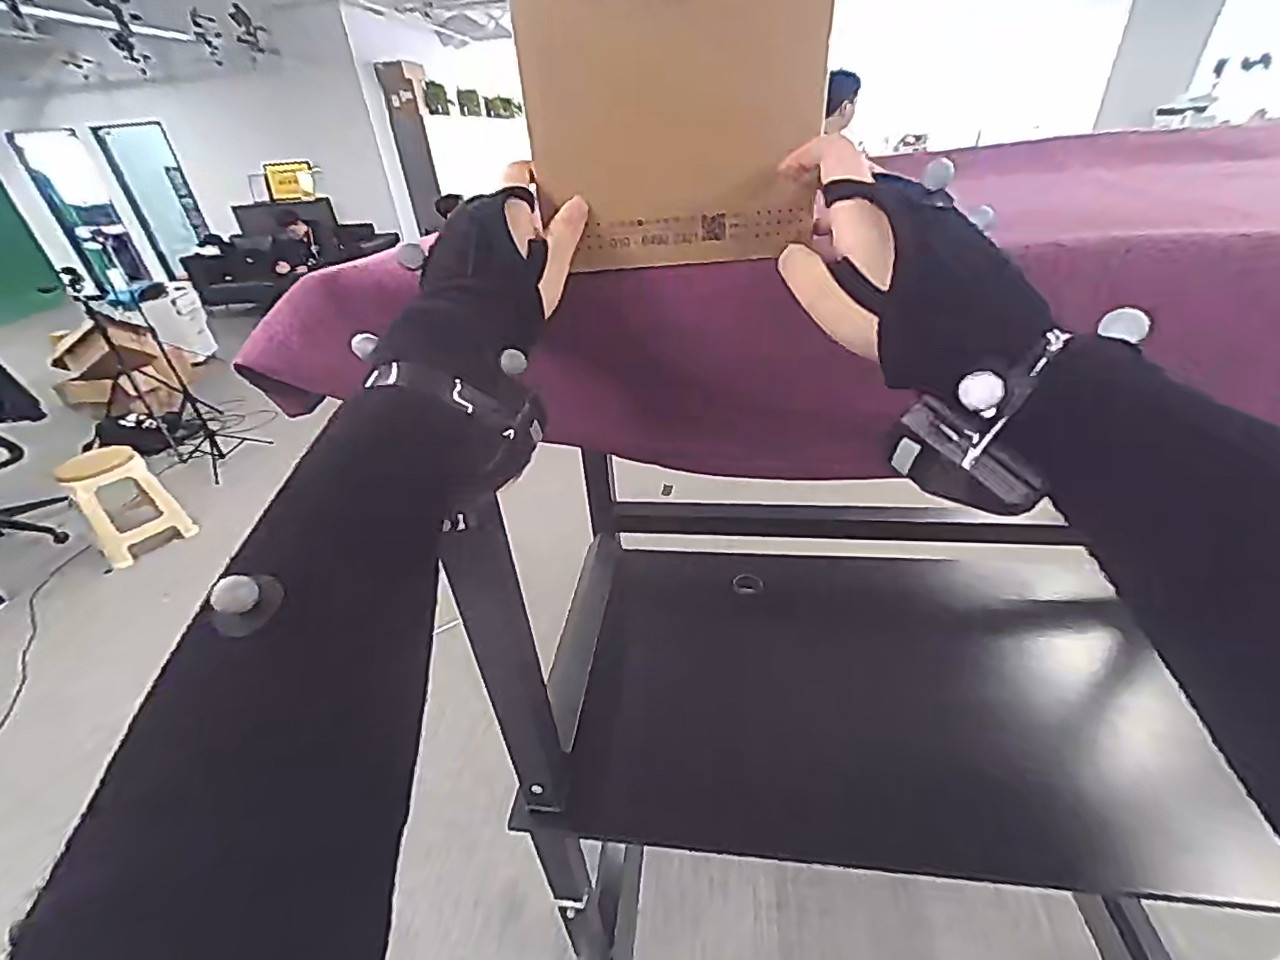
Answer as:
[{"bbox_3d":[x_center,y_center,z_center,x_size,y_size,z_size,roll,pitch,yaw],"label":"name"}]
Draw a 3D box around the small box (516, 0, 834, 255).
[{"bbox_3d":[0.019,-0.252,0.361,0.168,0.176,0.179,-4,32,2],"label":"small box"}]
